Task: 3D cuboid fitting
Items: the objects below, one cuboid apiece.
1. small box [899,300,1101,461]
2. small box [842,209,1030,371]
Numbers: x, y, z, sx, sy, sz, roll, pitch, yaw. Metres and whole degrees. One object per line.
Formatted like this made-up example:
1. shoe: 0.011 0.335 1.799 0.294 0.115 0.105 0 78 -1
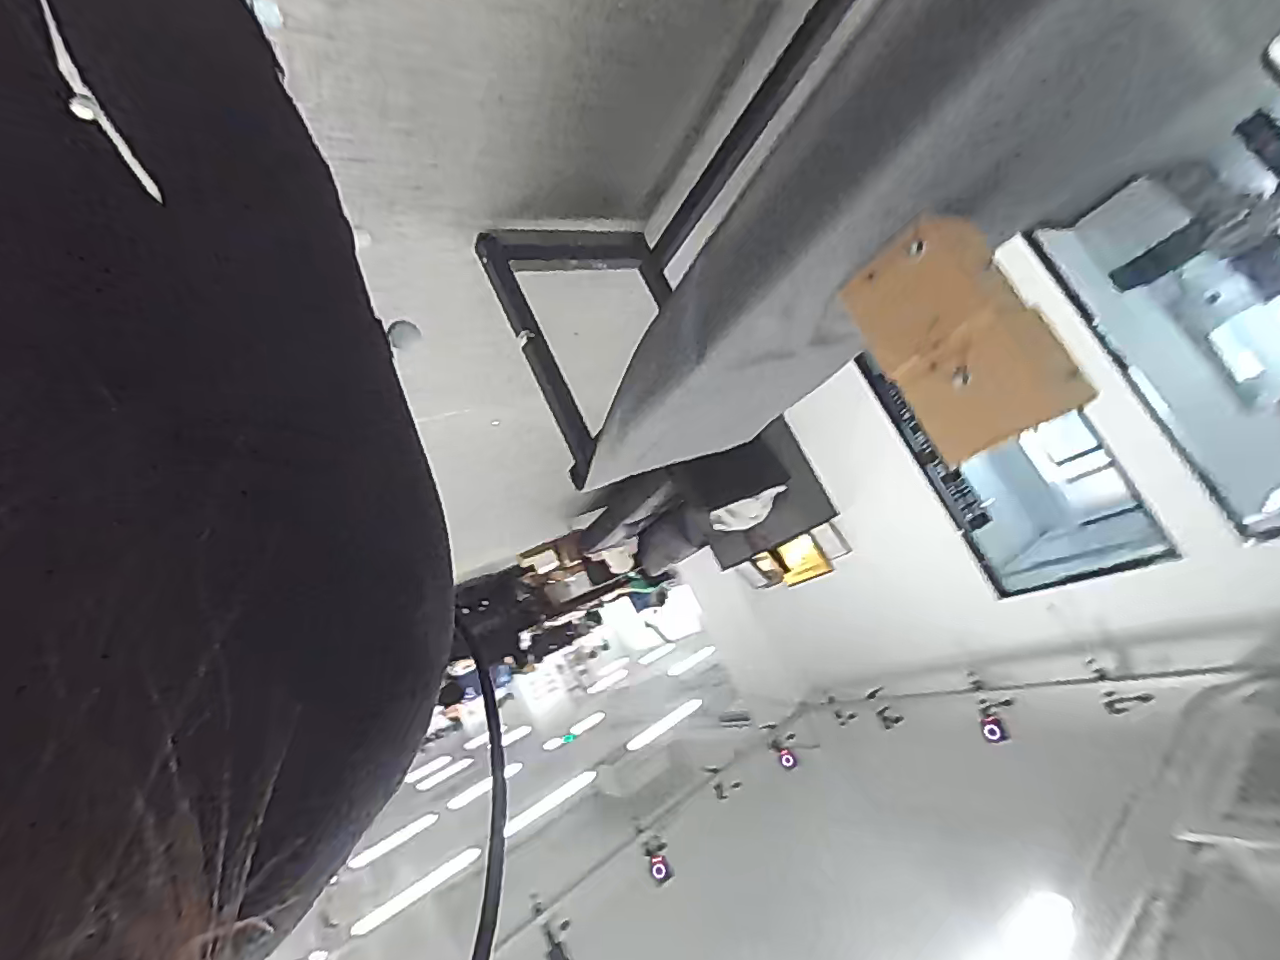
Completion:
1. small box: 0.538 -0.154 0.818 0.179 0.176 0.168 -18 165 -36
2. small box: 0.453 -0.294 0.843 0.179 0.176 0.168 -18 166 -38
